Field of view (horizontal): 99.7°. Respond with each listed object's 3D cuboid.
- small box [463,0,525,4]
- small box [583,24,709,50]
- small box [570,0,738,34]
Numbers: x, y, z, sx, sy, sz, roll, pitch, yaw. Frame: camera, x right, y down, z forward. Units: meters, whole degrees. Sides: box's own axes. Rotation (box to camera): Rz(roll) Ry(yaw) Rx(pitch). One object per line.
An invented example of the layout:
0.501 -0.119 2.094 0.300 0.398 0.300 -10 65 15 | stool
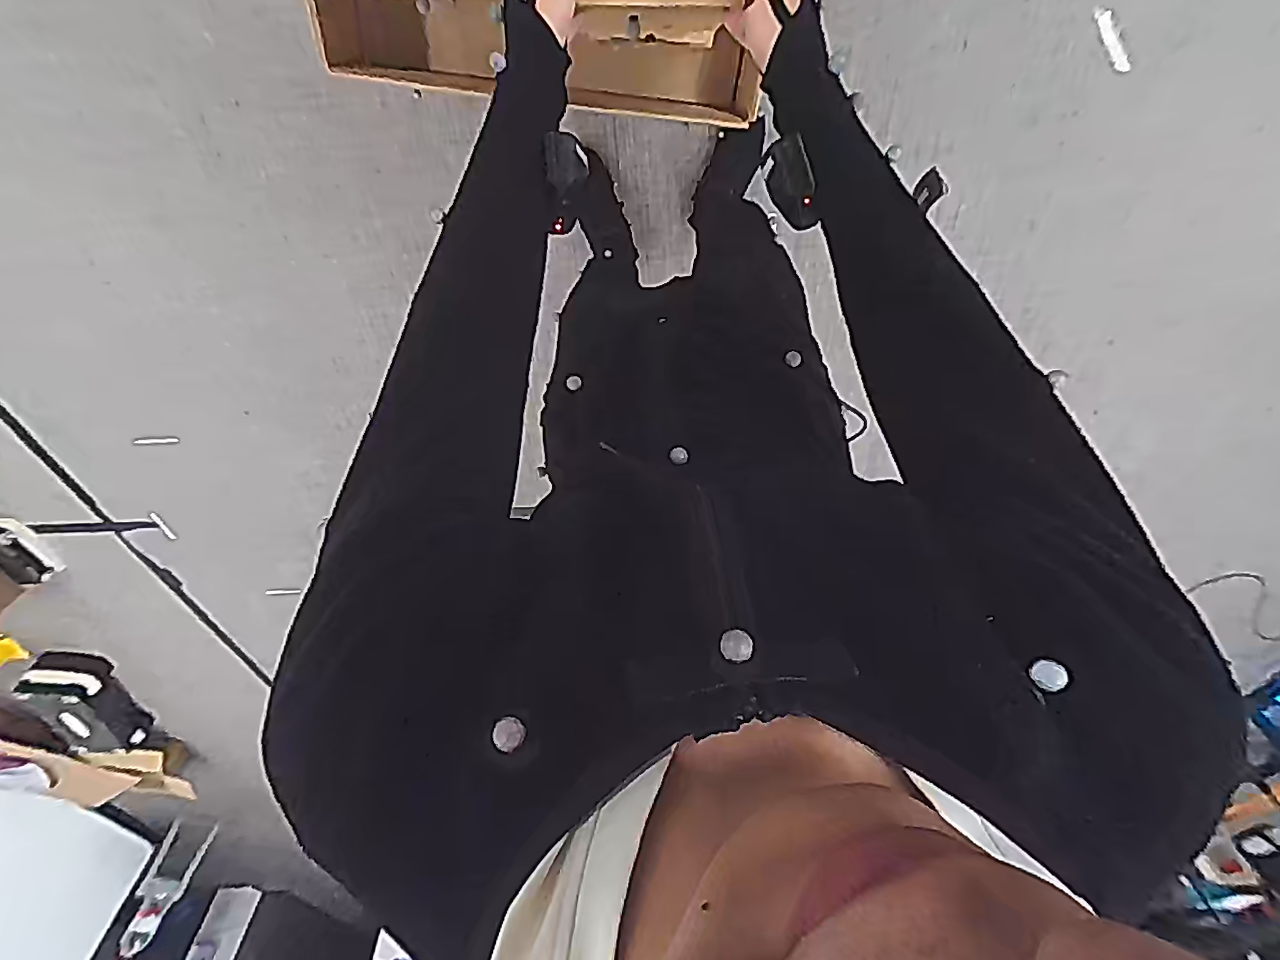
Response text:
-0.238 -0.720 0.684 0.179 0.176 0.168 2 130 -2 | small box
0.015 -0.686 0.714 0.168 0.176 0.179 3 129 -2 | small box
0.011 -0.568 0.539 0.168 0.176 0.179 -2 122 -3 | small box
